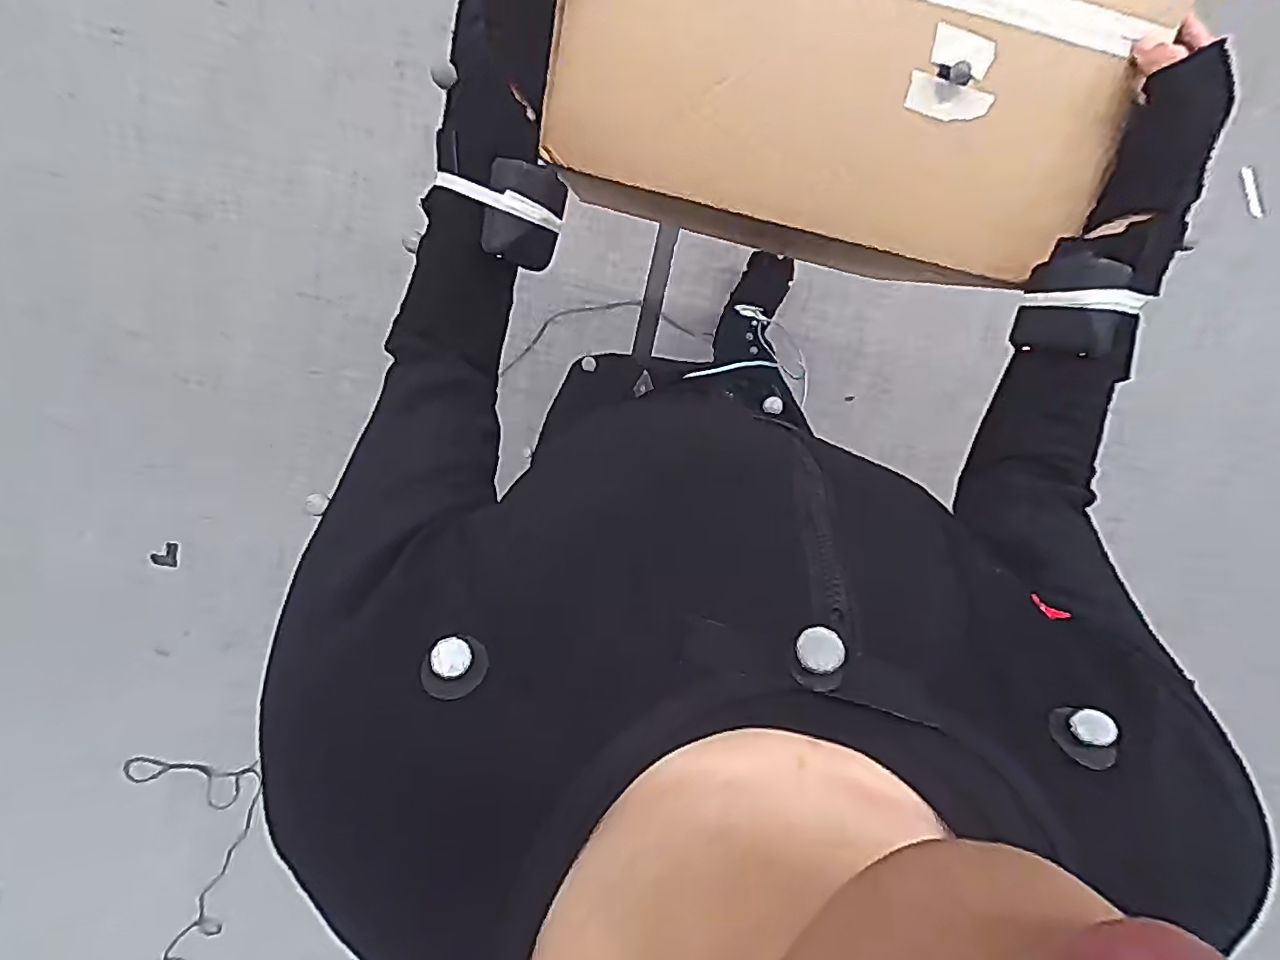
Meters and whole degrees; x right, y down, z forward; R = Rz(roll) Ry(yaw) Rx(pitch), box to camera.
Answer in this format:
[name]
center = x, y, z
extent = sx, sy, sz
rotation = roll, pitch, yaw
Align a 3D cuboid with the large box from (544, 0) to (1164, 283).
[large box]
center = 0.147, -0.387, 0.497
extent = 0.408, 0.320, 0.320
rotation = 11, 112, -6
